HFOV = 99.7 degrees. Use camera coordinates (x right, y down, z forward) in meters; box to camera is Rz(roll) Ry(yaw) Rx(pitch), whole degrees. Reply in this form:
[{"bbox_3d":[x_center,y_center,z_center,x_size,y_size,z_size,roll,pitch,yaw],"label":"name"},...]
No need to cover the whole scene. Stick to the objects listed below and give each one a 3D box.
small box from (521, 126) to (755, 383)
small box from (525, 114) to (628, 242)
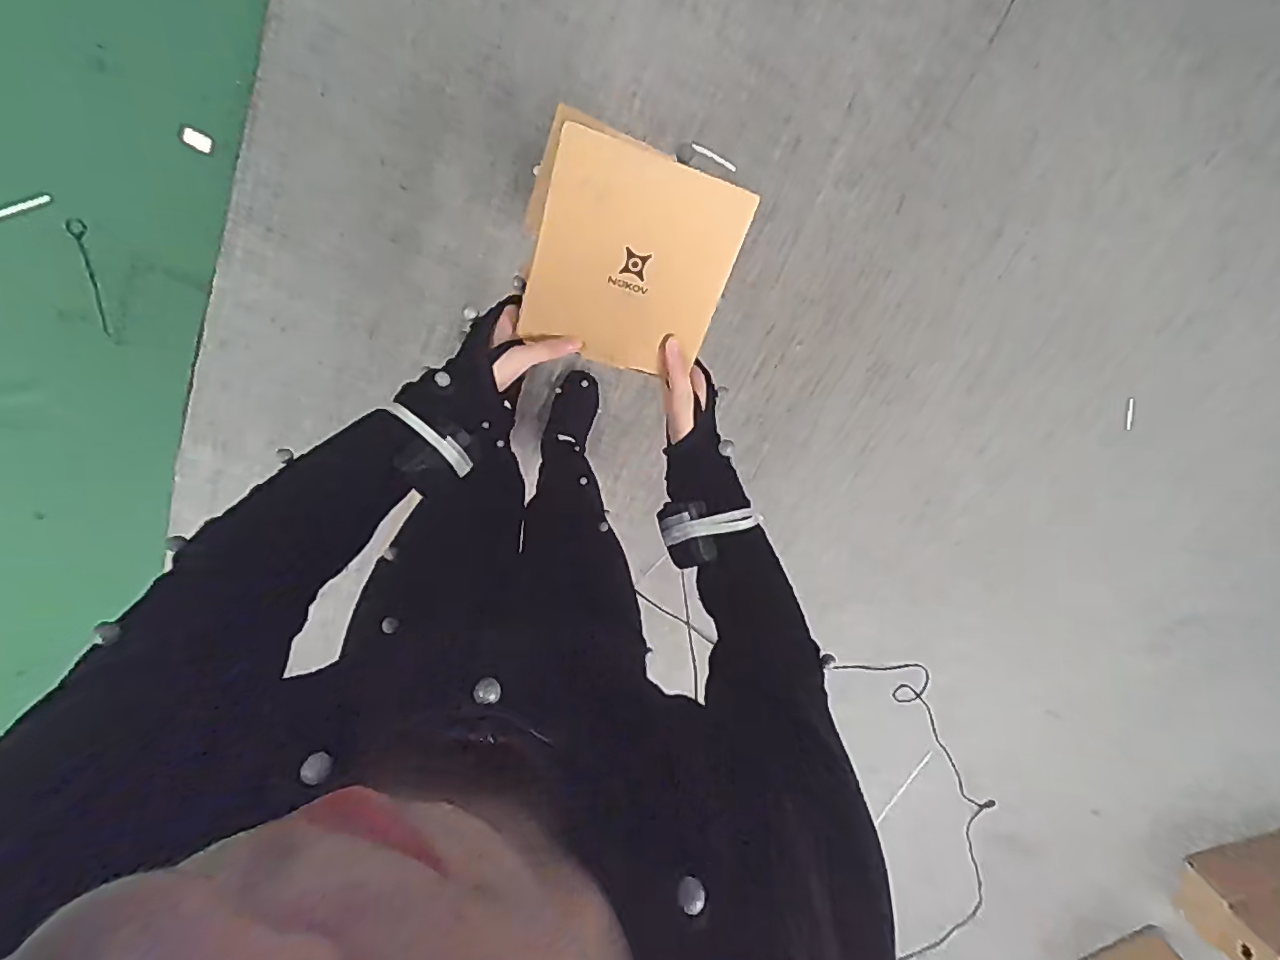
[{"bbox_3d":[-0.014,-0.227,0.538,0.168,0.176,0.179,14,121,-14],"label":"small box"},{"bbox_3d":[-0.061,-0.419,0.829,0.179,0.176,0.168,19,109,-14],"label":"small box"}]
